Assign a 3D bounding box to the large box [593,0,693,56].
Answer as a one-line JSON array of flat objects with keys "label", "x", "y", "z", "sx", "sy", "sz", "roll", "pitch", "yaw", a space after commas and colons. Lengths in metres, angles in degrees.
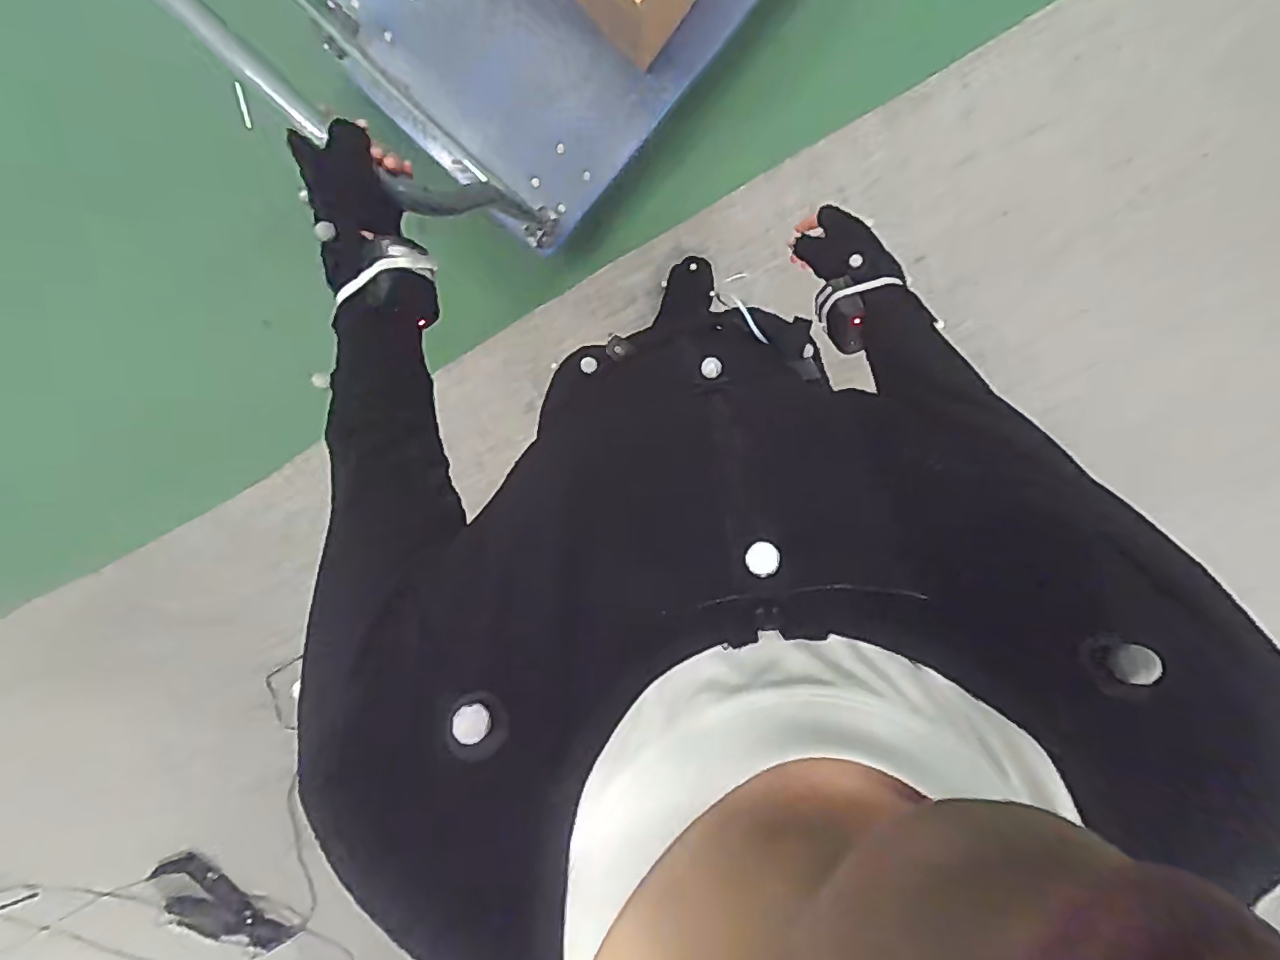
[{"label": "large box", "x": -0.040, "y": -0.950, "z": 0.785, "sx": 0.408, "sy": 0.320, "sz": 0.320, "roll": 38, "pitch": 109, "yaw": -13}]
